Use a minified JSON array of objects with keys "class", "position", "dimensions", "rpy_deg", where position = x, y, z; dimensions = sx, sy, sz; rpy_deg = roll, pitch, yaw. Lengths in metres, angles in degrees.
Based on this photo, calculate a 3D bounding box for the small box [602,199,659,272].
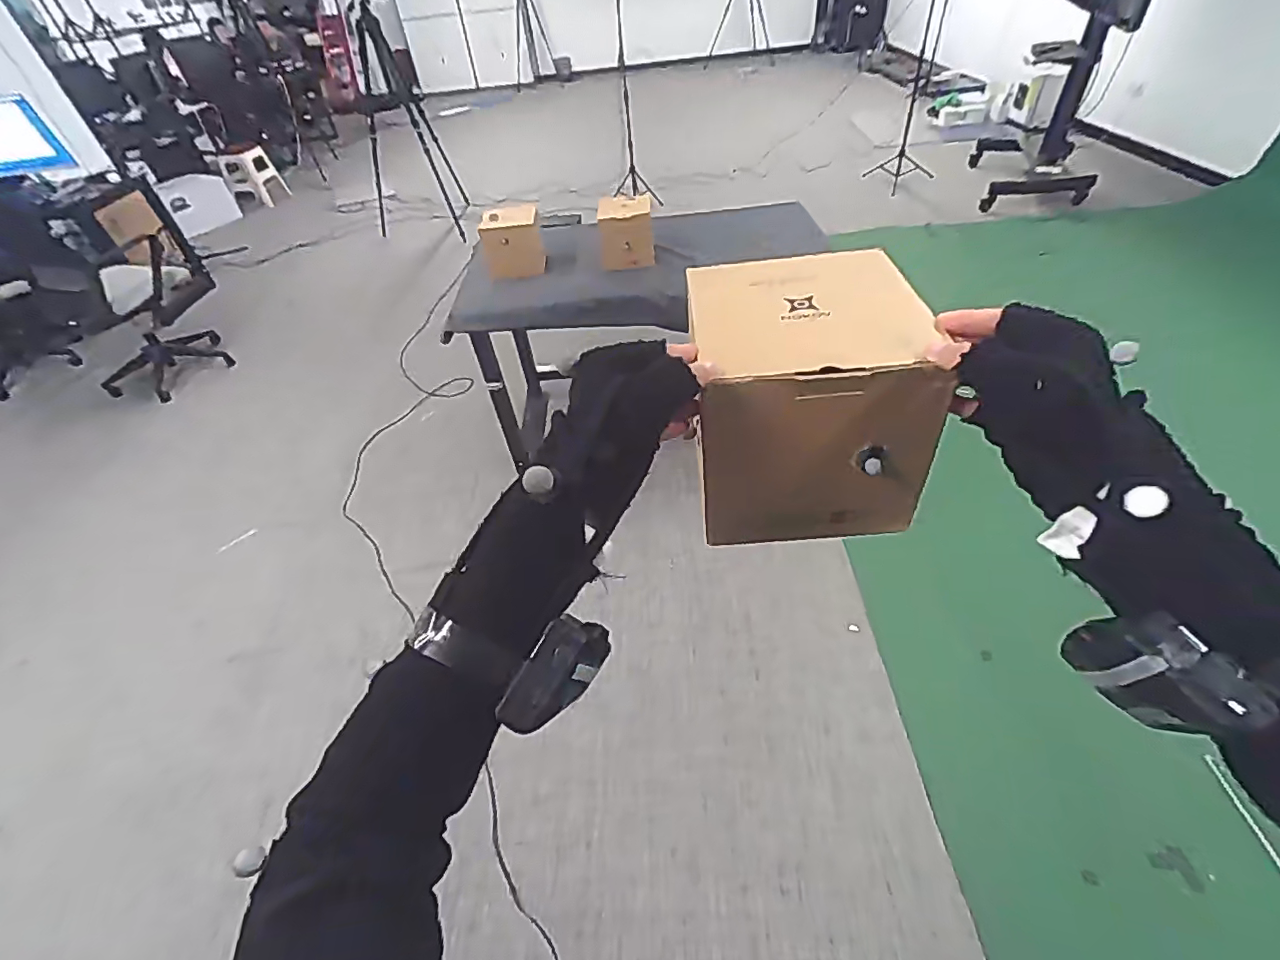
[{"class":"small box","position":[-0.027,-0.791,1.759],"dimensions":[0.168,0.176,0.179],"rpy_deg":[-3,45,4]}]

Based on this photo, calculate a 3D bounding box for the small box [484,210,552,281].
[{"class":"small box","position":[-0.396,-0.770,1.783],"dimensions":[0.179,0.176,0.168],"rpy_deg":[-6,45,0]}]
